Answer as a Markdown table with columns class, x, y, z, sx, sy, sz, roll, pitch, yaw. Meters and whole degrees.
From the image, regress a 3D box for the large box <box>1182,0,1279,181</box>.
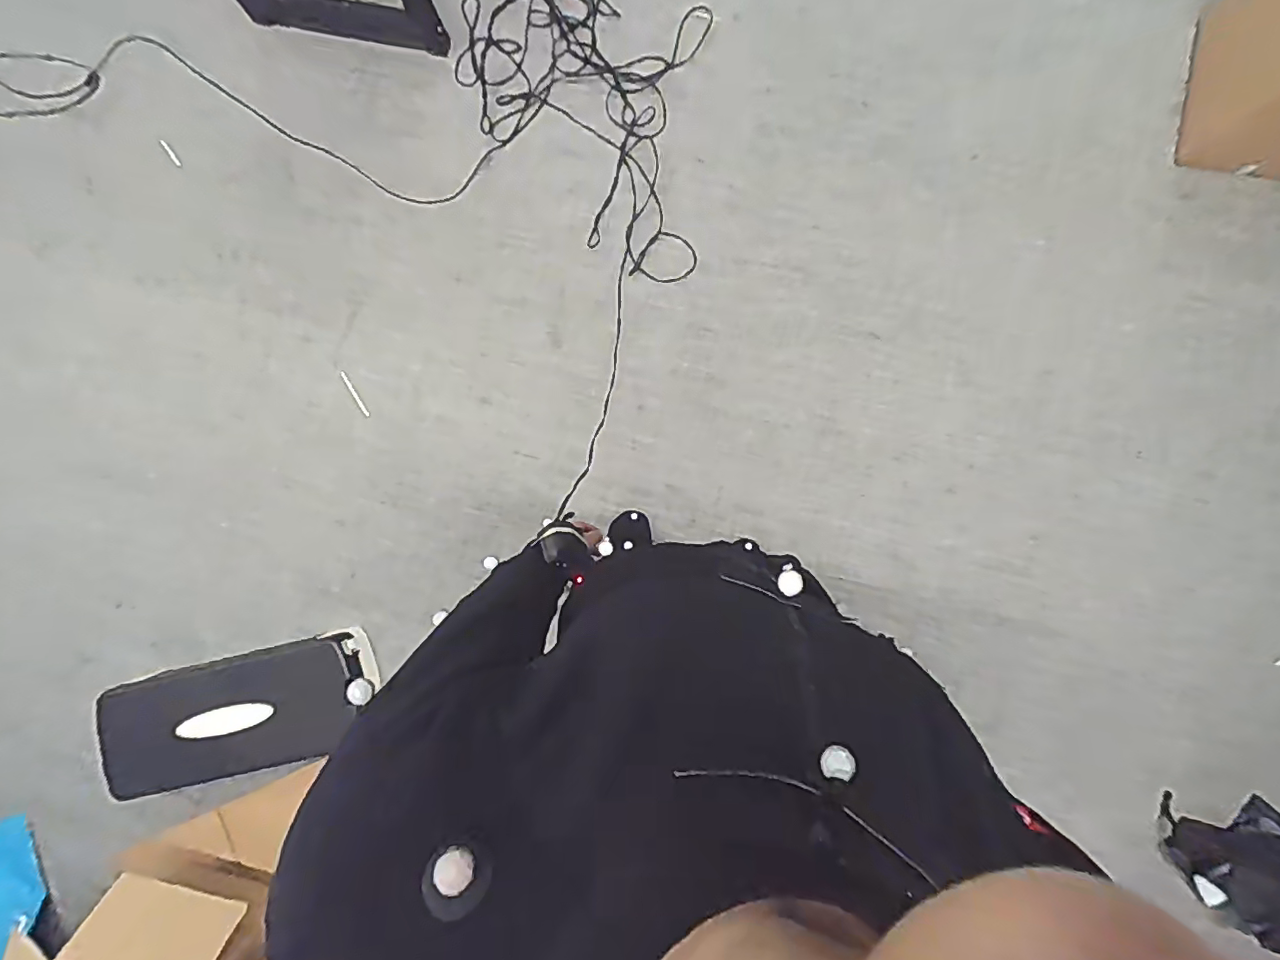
| class | x | y | z | sx | sy | sz | roll | pitch | yaw |
| --- | --- | --- | --- | --- | --- | --- | --- | --- | --- |
| large box | 1.528 | -0.961 | 1.207 | 0.320 | 0.320 | 0.408 | 11 | 88 | 5 |
